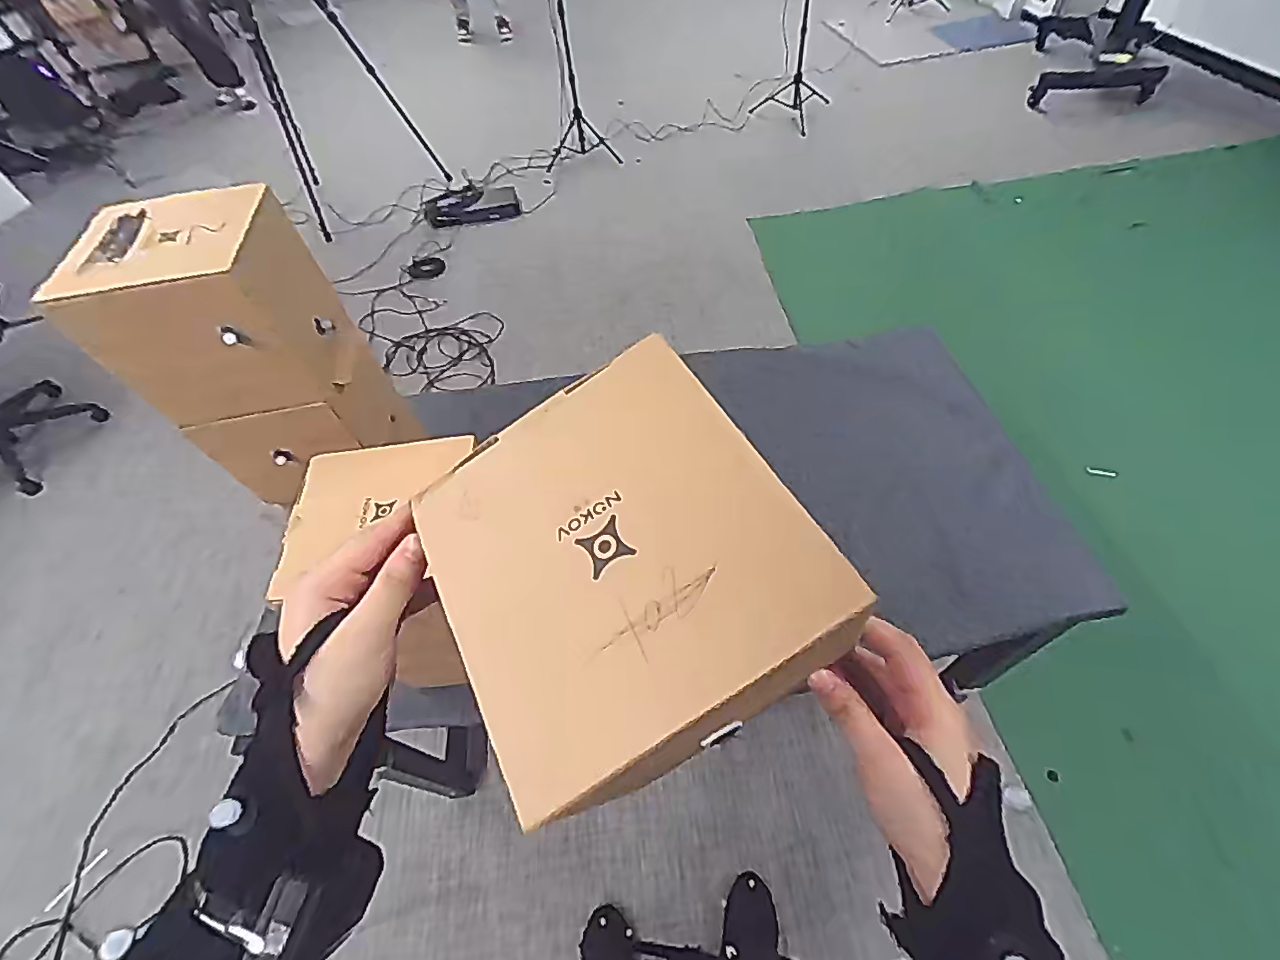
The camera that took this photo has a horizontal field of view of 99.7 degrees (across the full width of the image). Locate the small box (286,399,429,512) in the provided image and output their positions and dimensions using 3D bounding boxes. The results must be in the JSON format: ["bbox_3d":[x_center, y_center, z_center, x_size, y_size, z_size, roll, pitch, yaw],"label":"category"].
[{"bbox_3d":[-0.437,0.000,0.872,0.168,0.176,0.179,-11,54,-2],"label":"small box"}]

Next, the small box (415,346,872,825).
[{"bbox_3d":[0.006,0.064,0.322,0.168,0.176,0.179,-34,61,2],"label":"small box"}]

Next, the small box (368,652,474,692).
[{"bbox_3d":[-0.236,0.171,0.720,0.179,0.176,0.168,-7,53,1],"label":"small box"}]

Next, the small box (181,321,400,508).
[{"bbox_3d":[-0.447,-0.084,0.730,0.179,0.176,0.168,-11,55,-1],"label":"small box"}]

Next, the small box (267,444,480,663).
[{"bbox_3d":[-0.242,0.084,0.582,0.179,0.176,0.168,-8,54,1],"label":"small box"}]
